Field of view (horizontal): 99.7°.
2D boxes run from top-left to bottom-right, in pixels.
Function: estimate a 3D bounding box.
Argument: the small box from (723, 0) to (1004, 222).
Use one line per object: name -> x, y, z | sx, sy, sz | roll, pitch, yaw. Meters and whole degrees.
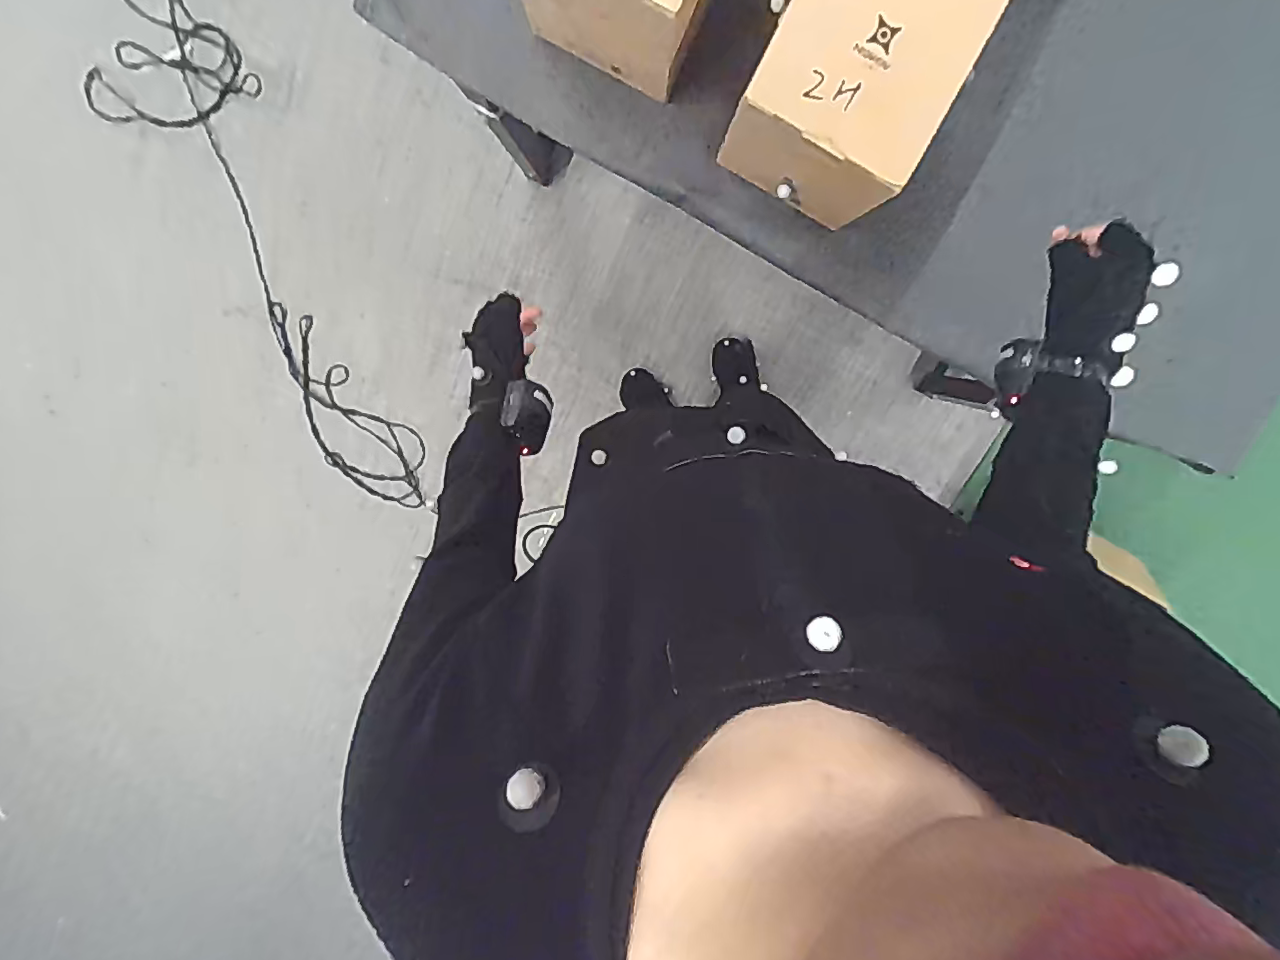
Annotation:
small box -> 0.198, -0.392, 0.538 | 0.168, 0.176, 0.179 | 26, 102, -7
